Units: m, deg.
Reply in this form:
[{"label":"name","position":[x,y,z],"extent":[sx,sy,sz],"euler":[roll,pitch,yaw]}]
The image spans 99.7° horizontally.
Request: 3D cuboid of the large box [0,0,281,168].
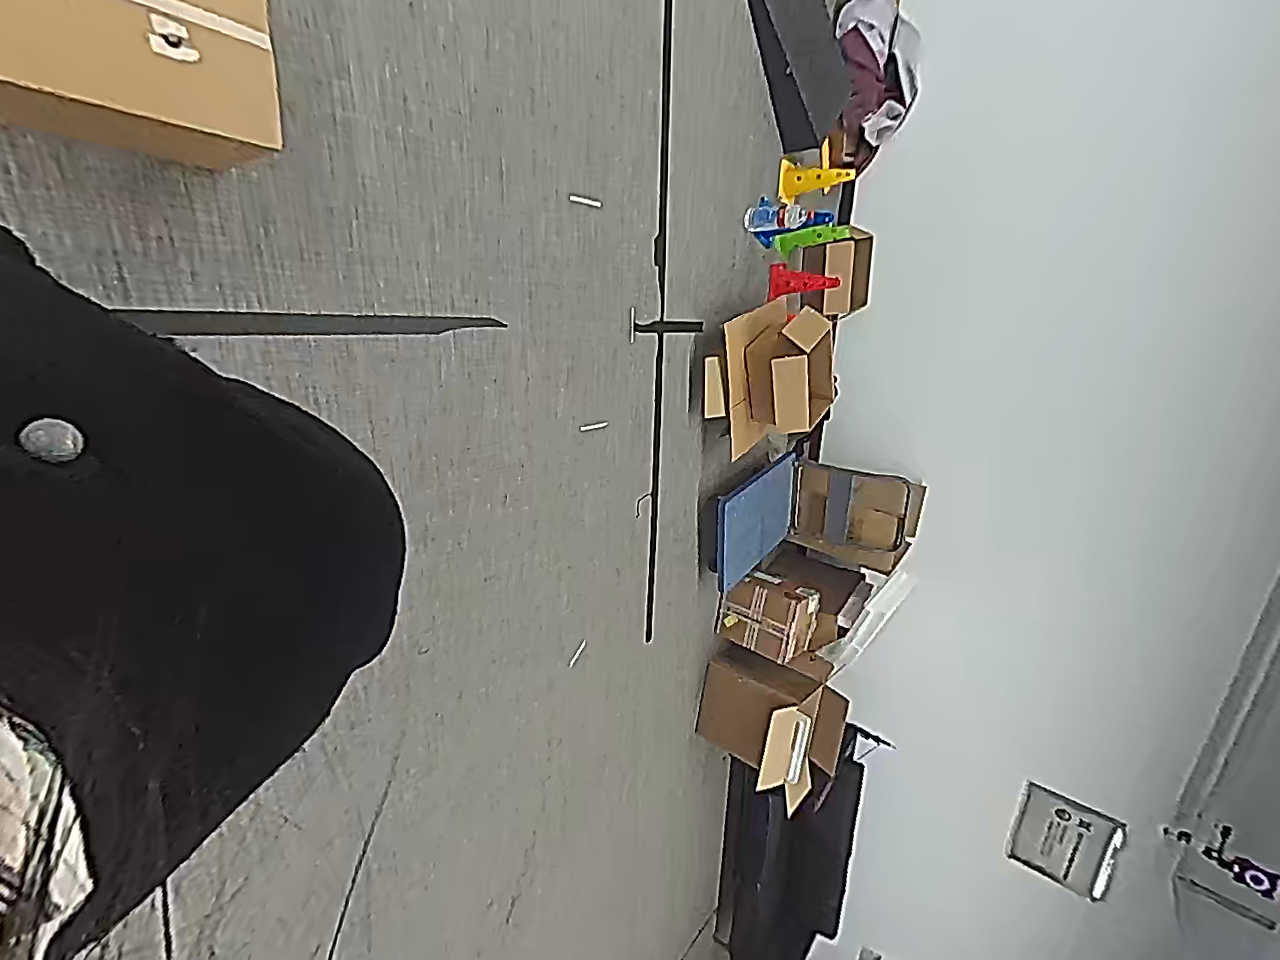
[{"label":"large box","position":[-0.859,-0.719,0.837],"extent":[0.408,0.320,0.320],"euler":[-17,116,-50]}]
